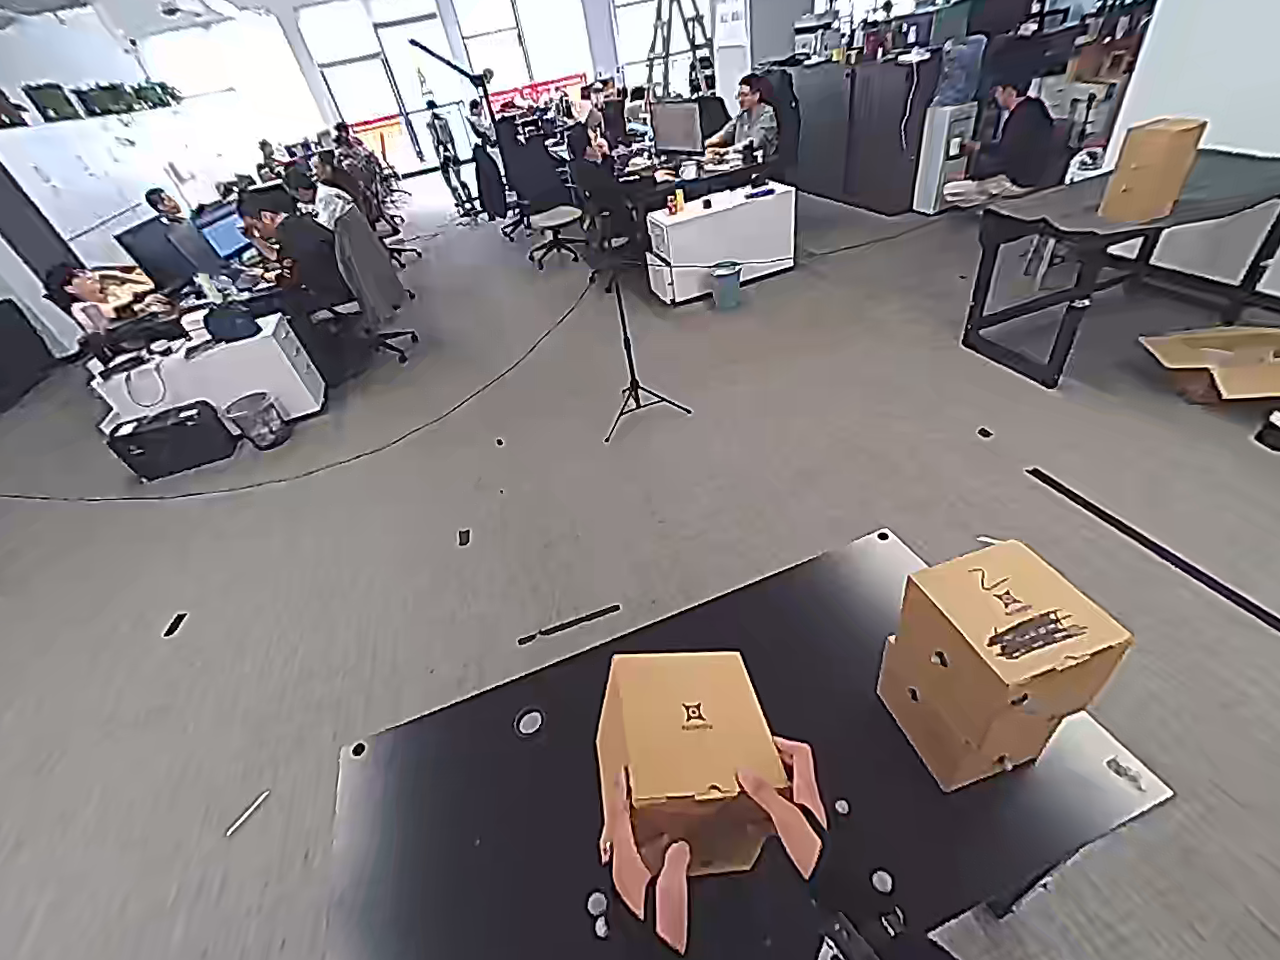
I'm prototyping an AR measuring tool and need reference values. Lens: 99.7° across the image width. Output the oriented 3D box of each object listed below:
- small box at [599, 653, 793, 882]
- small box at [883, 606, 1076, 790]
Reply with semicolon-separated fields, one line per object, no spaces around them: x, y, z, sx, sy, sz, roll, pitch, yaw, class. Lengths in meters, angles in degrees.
0.048;0.327;0.632;0.168;0.176;0.179;3;32;-13;small box
0.495;0.330;0.825;0.168;0.176;0.179;-17;39;-5;small box
